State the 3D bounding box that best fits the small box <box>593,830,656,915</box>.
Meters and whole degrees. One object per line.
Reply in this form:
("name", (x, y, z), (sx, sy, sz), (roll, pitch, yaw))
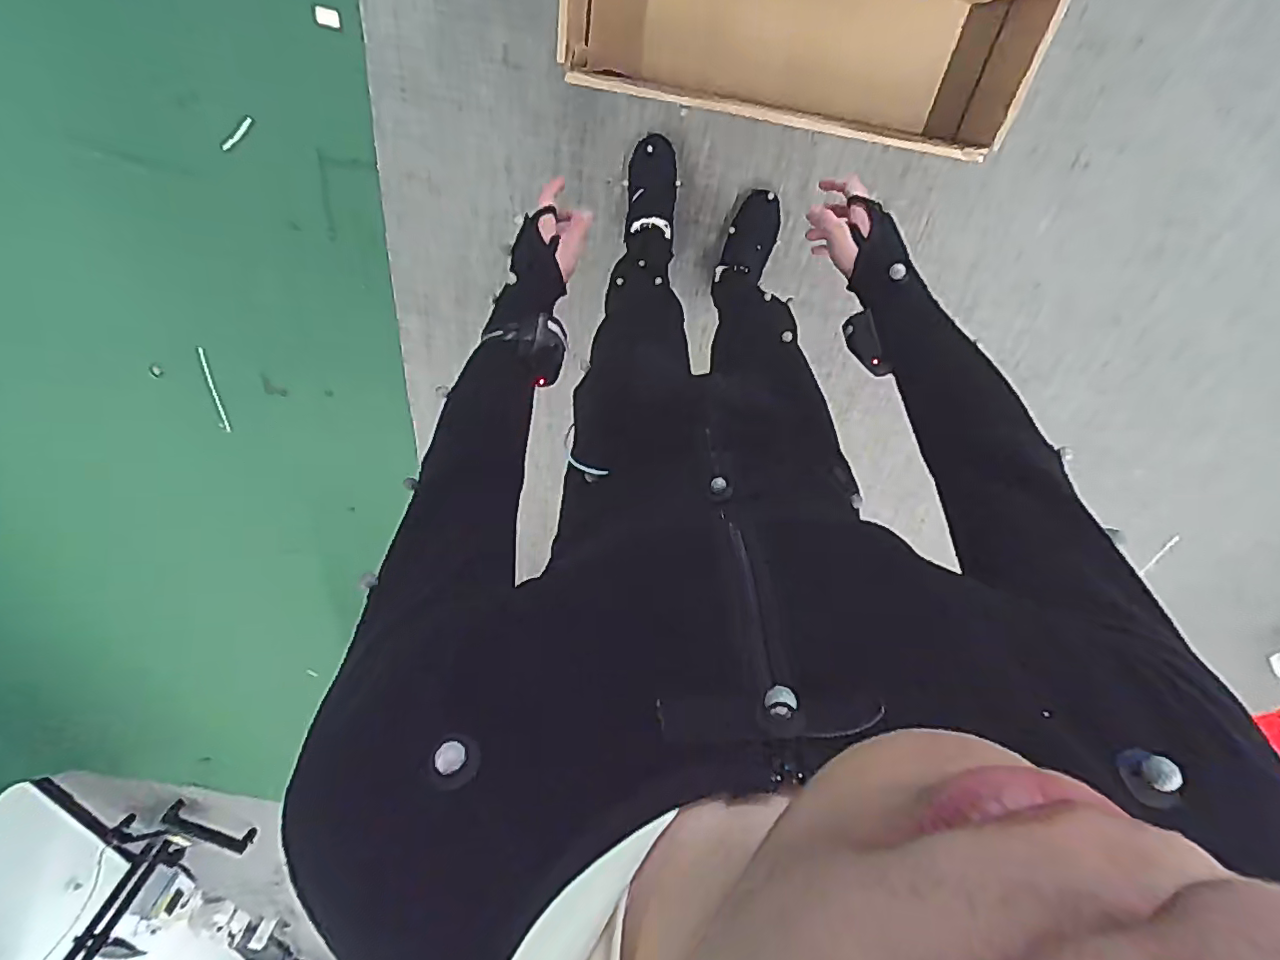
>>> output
("small box", (-0.047, 1.247, 1.722), (0.179, 0.176, 0.168), (6, 127, 3))
